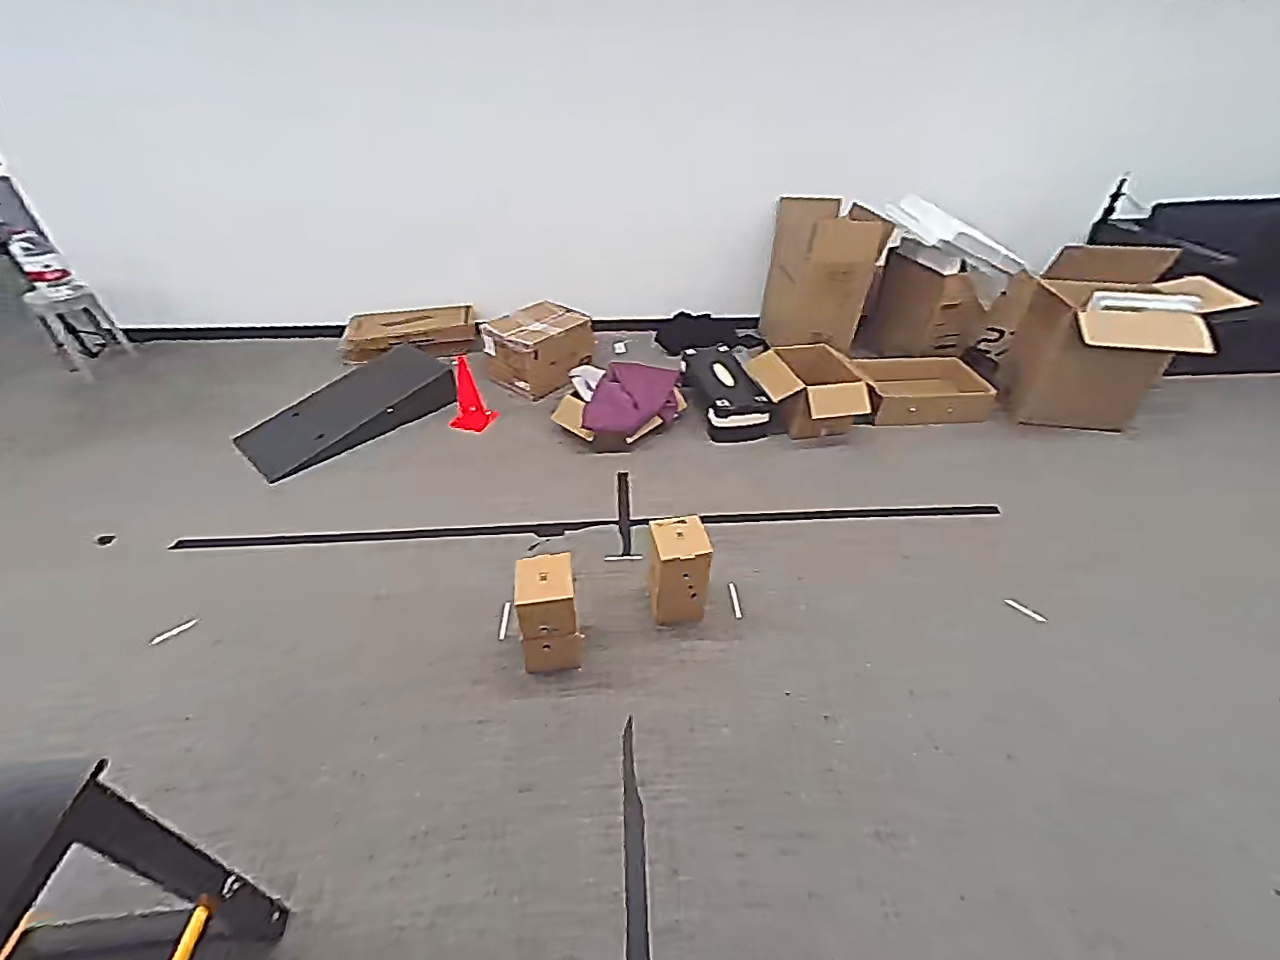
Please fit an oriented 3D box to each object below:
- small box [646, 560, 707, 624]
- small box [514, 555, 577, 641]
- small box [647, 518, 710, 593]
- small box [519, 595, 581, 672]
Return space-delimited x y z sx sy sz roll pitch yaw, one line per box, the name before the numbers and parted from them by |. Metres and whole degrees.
small box | 0.119 0.372 1.857 0.179 0.176 0.168 -6 39 -8
small box | -0.280 0.353 1.612 0.168 0.176 0.179 -7 40 -7
small box | 0.119 0.250 1.748 0.168 0.176 0.179 -7 40 -9
small box | -0.280 0.487 1.705 0.179 0.176 0.168 -4 39 -6
